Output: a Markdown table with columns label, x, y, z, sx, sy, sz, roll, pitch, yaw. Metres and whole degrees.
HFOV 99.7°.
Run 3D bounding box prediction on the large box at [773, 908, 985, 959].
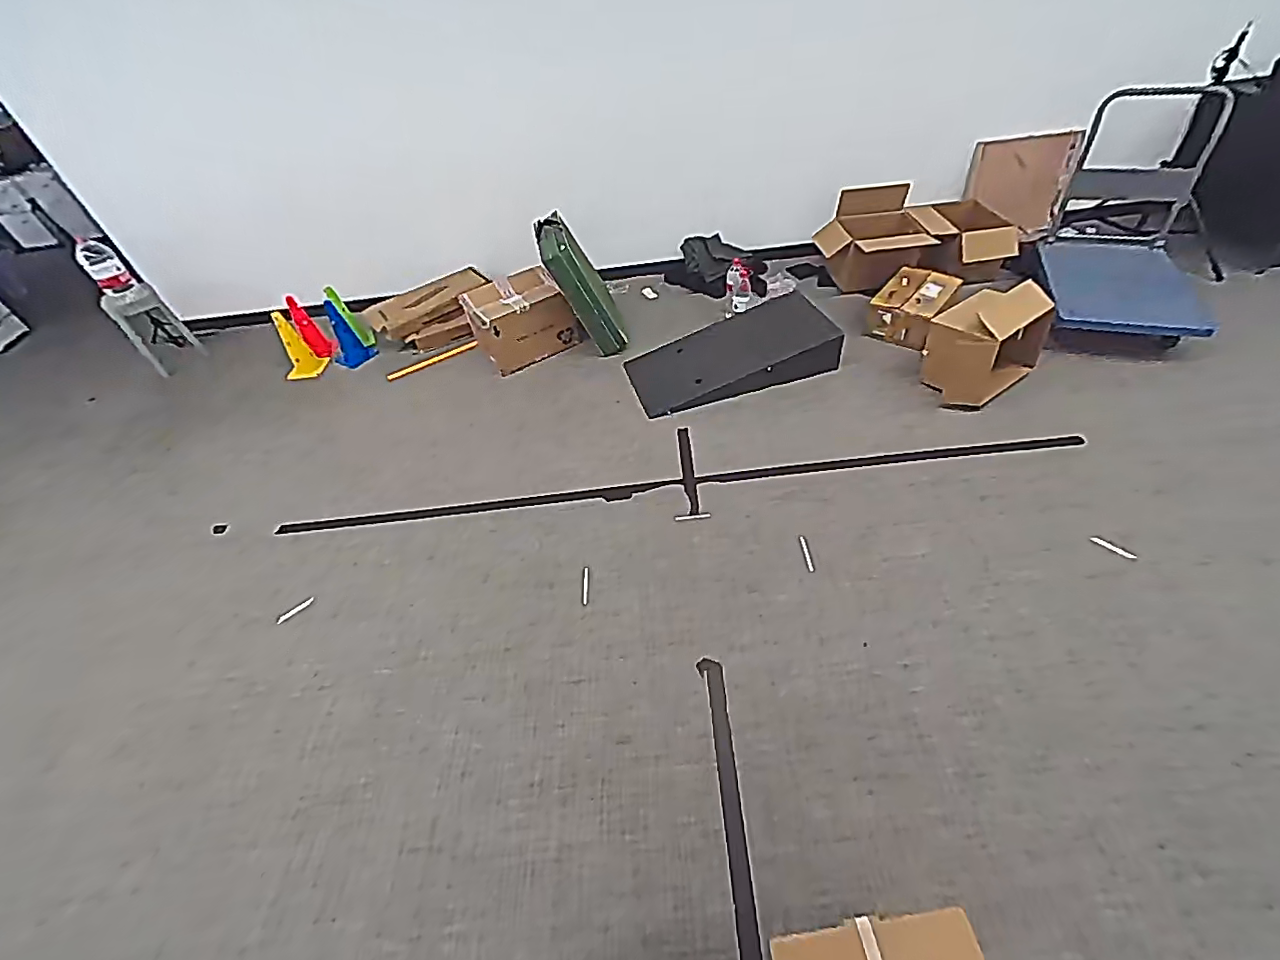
| label | x | y | z | sx | sy | sz | roll | pitch | yaw |
| --- | --- | --- | --- | --- | --- | --- | --- | --- | --- |
| large box | 0.416 | 0.949 | 0.835 | 0.320 | 0.320 | 0.408 | -14 | 47 | 5 |
